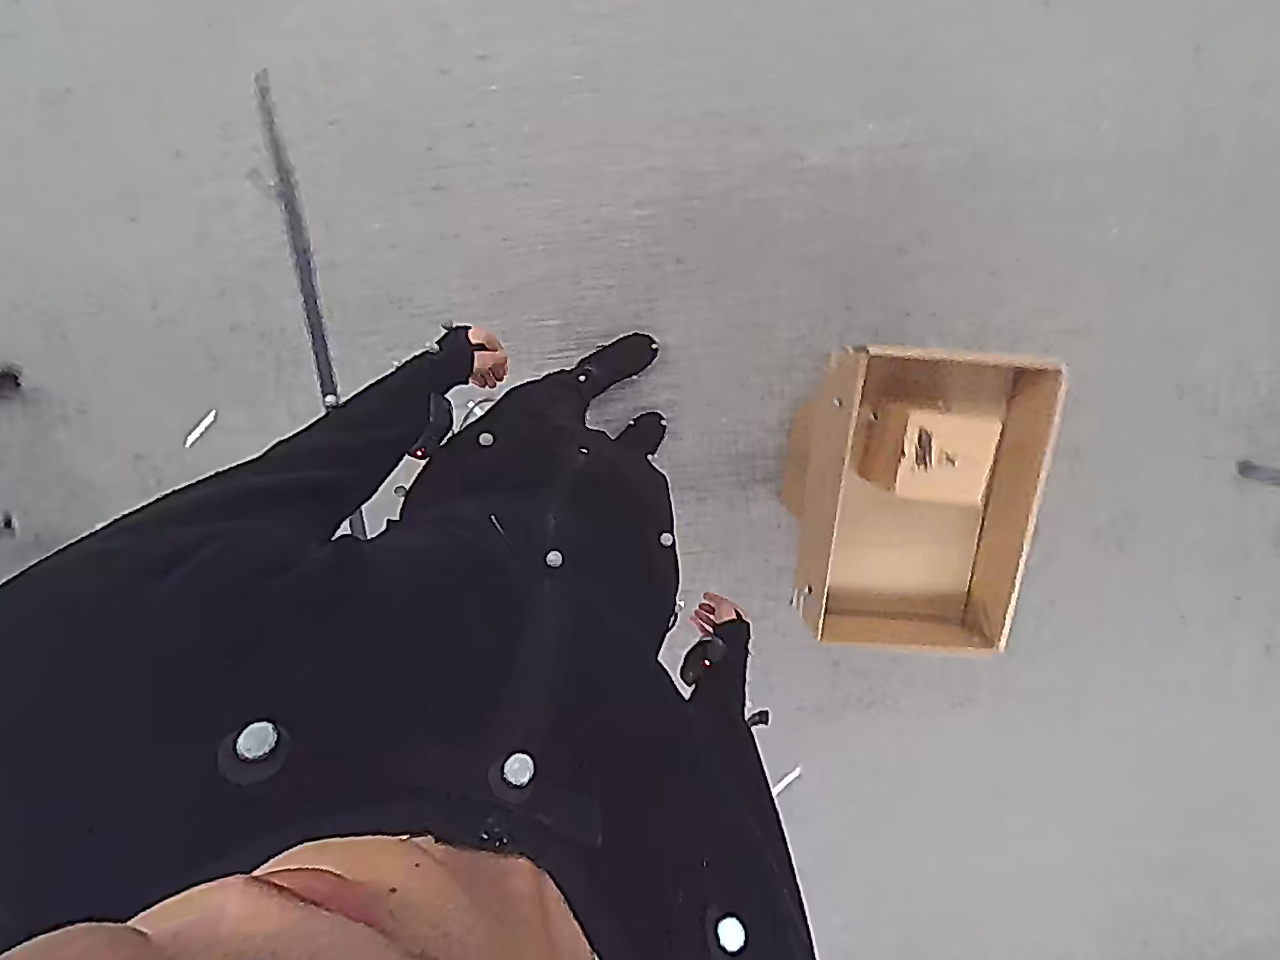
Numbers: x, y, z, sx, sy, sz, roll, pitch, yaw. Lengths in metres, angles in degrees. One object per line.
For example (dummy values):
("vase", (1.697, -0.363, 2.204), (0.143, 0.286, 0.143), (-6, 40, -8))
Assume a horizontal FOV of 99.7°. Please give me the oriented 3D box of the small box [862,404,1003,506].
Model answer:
("small box", (0.575, -0.057, 1.091), (0.179, 0.176, 0.168), (7, 104, -2))
